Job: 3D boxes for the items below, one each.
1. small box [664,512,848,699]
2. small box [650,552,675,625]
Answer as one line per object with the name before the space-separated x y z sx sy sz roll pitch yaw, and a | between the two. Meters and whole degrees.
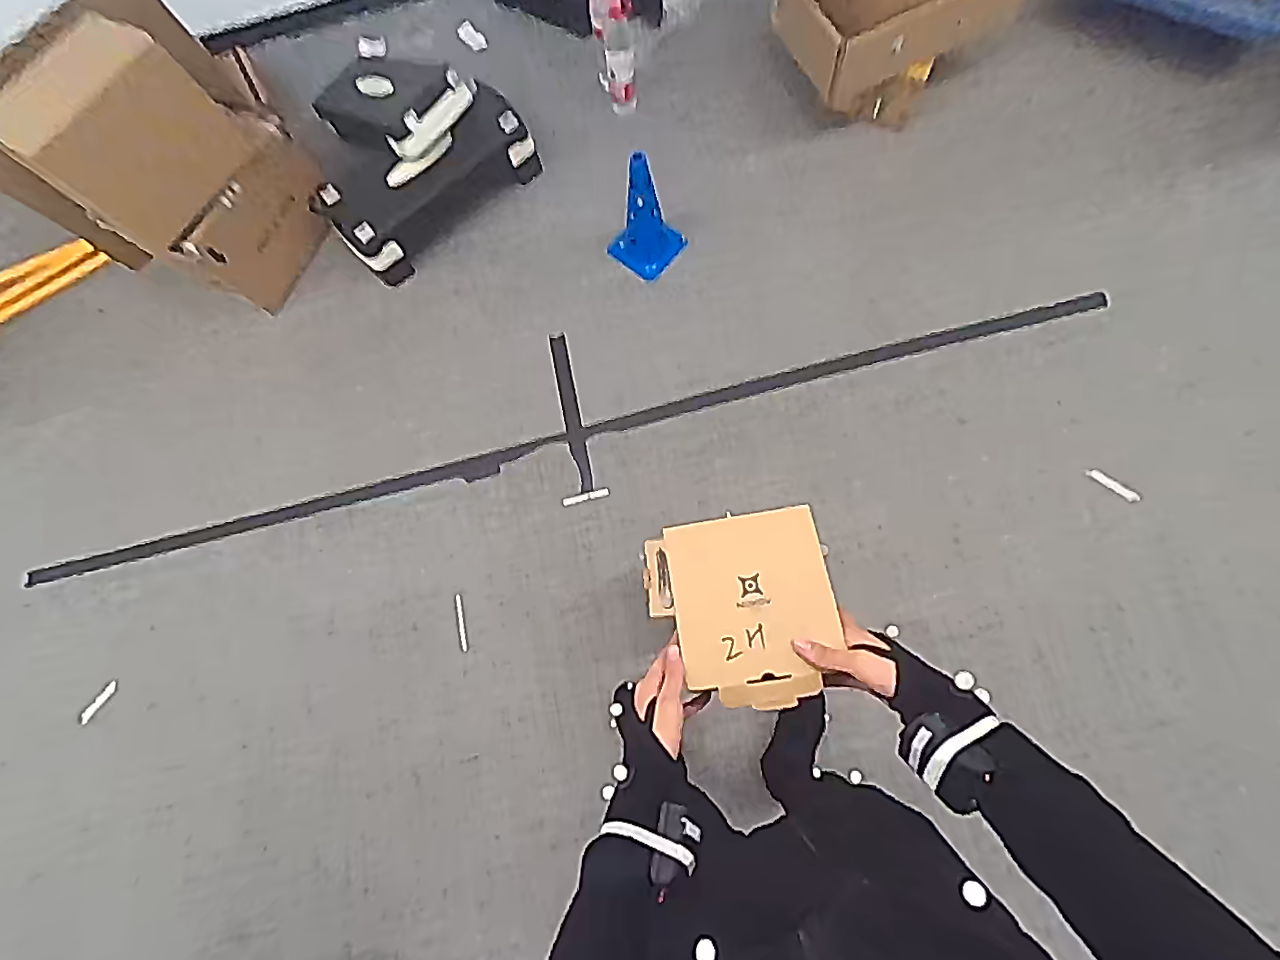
small box | 0.125 0.156 0.642 0.168 0.176 0.179 -10 67 5
small box | 0.125 0.274 1.405 0.168 0.176 0.179 -10 75 3
